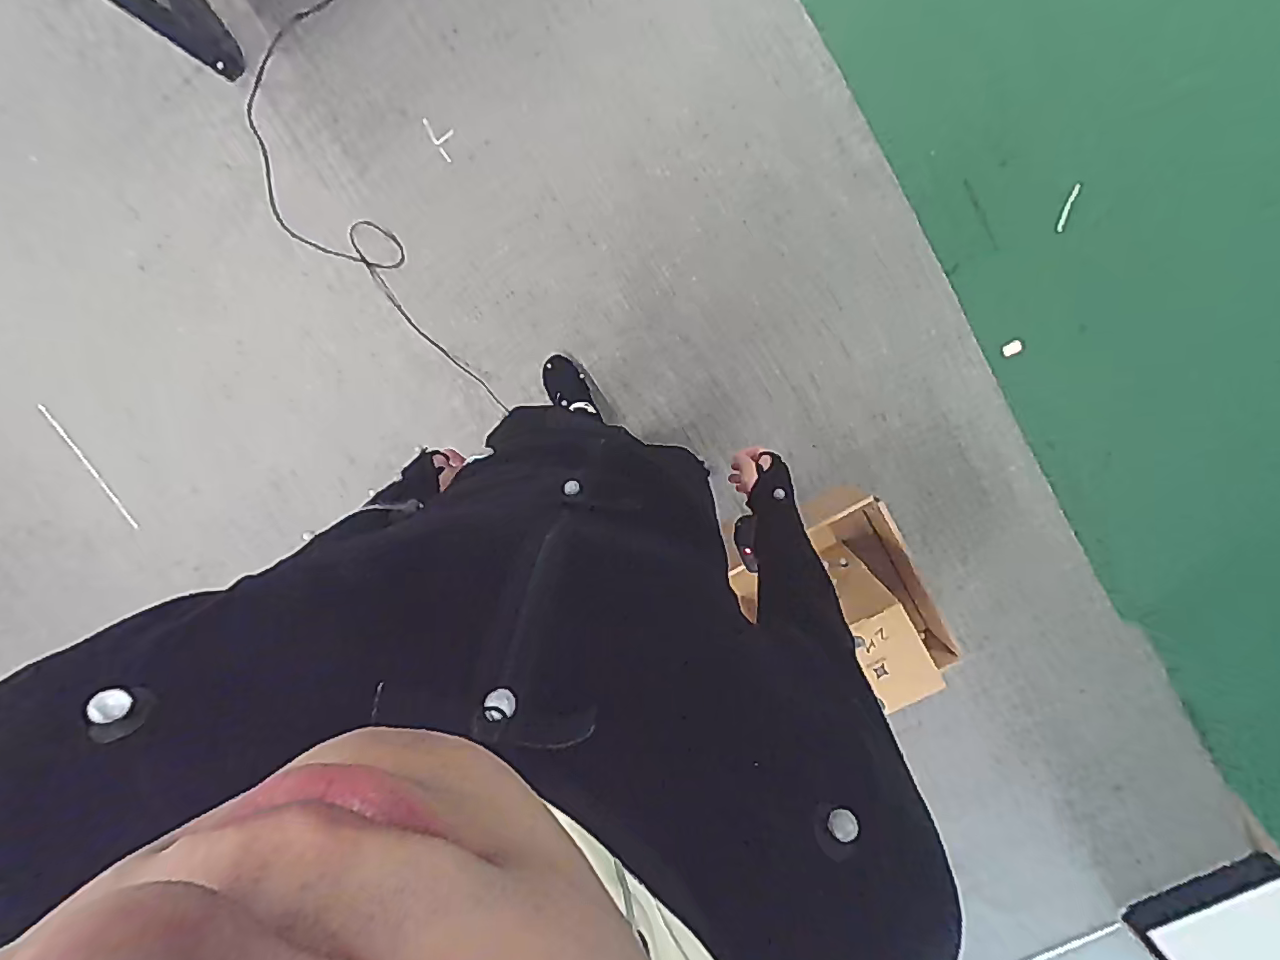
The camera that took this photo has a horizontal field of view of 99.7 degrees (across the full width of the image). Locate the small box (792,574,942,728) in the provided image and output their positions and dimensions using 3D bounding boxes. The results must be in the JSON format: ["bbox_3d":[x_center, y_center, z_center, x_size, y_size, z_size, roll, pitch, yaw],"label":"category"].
[{"bbox_3d":[0.403,0.302,0.985,0.168,0.176,0.179,-30,98,8],"label":"small box"}]
